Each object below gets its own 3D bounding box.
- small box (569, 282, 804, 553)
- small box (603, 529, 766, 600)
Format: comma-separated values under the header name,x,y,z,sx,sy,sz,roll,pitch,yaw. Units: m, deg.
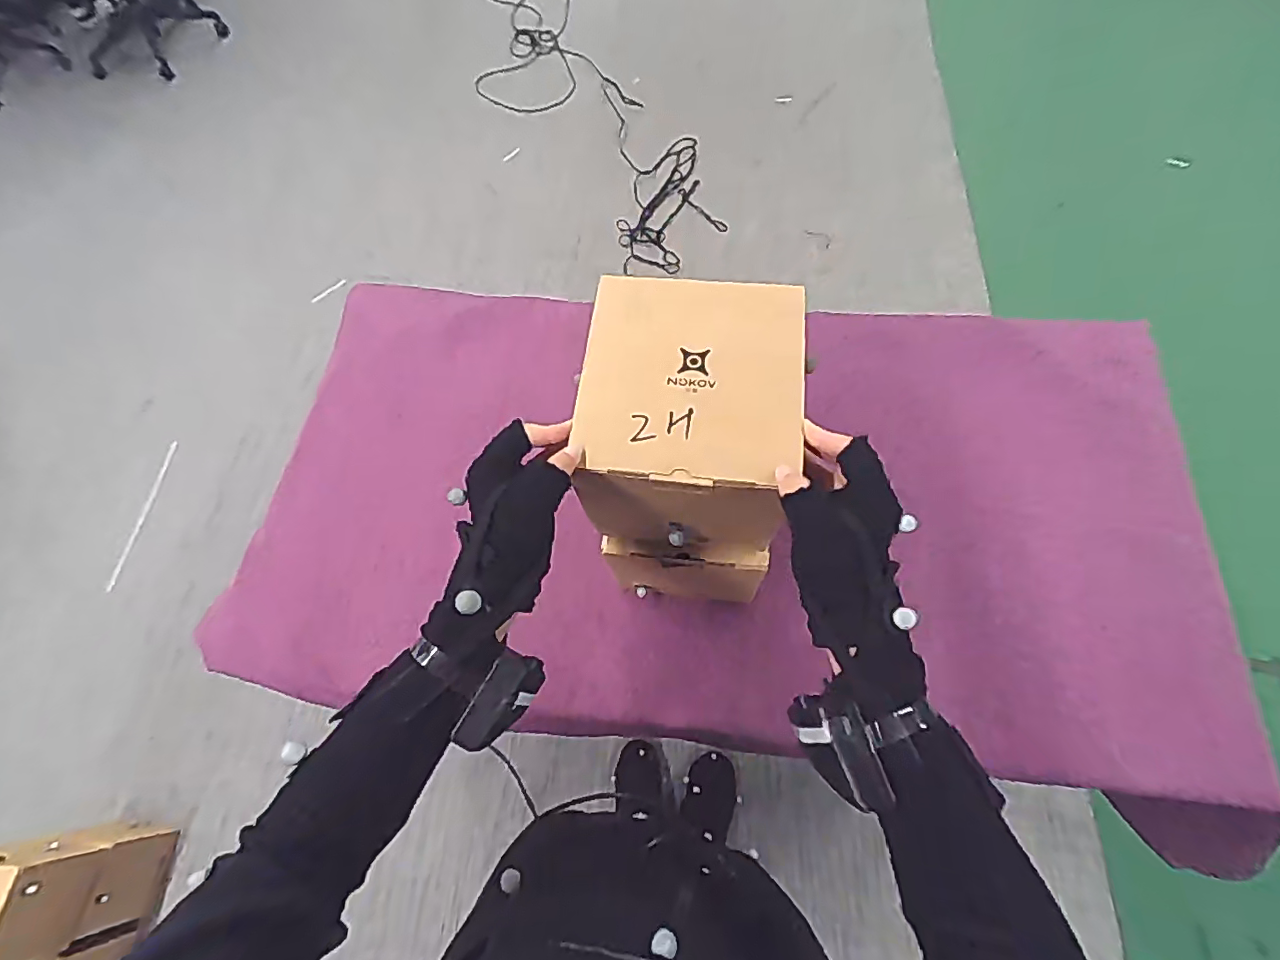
name,x,y,z,sx,sy,sz,roll,pitch,yaw
small box,0.045,-0.047,0.486,0.168,0.176,0.179,6,68,7
small box,0.062,0.036,0.641,0.168,0.176,0.179,6,66,8
